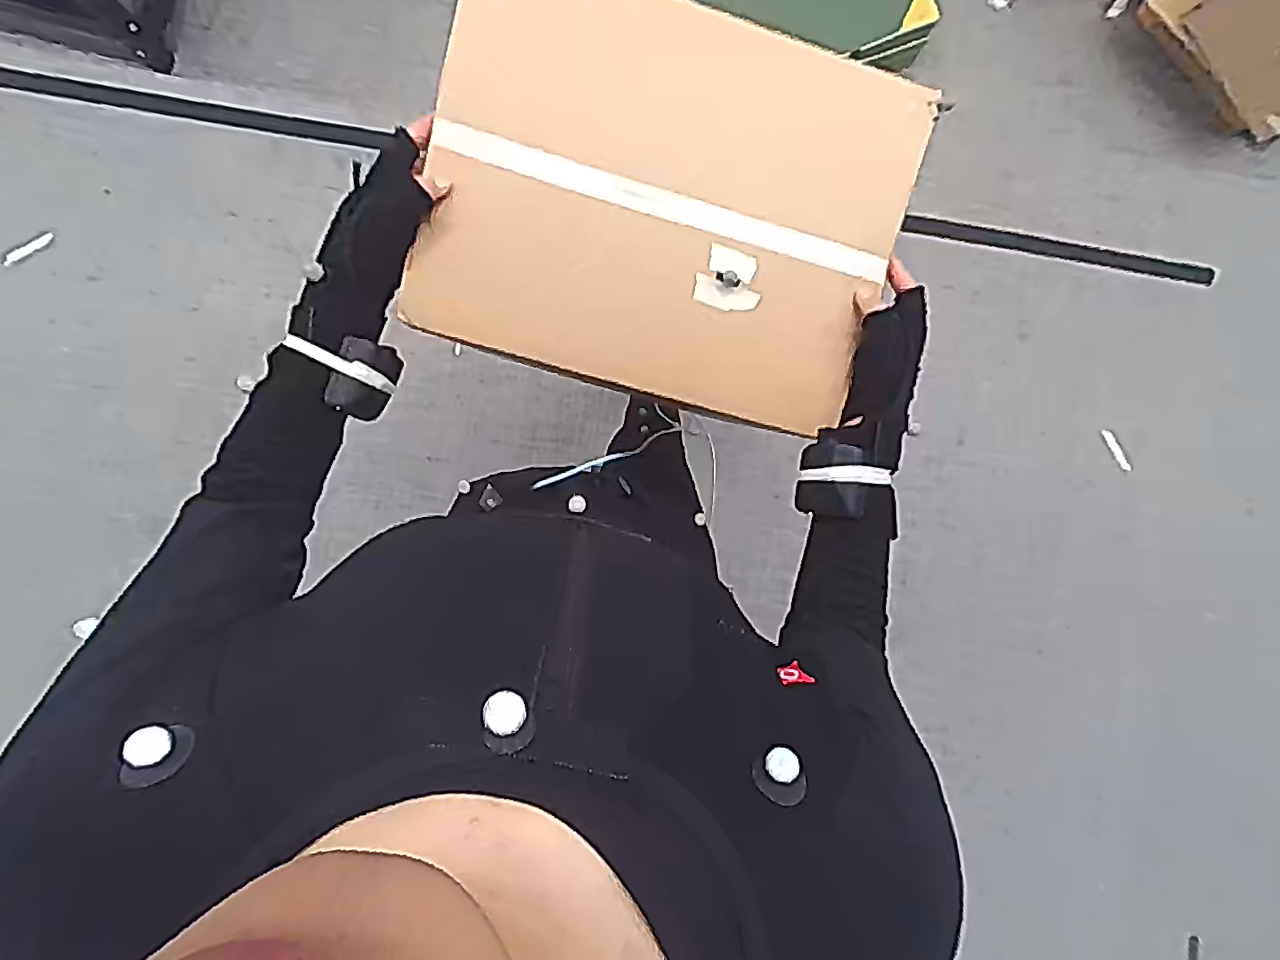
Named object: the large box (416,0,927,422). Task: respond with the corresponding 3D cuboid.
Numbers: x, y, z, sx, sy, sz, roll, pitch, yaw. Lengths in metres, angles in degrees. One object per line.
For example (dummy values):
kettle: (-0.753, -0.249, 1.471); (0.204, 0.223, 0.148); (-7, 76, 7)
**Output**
large box: (0.015, -0.269, 0.623); (0.408, 0.320, 0.320); (15, 99, -7)
